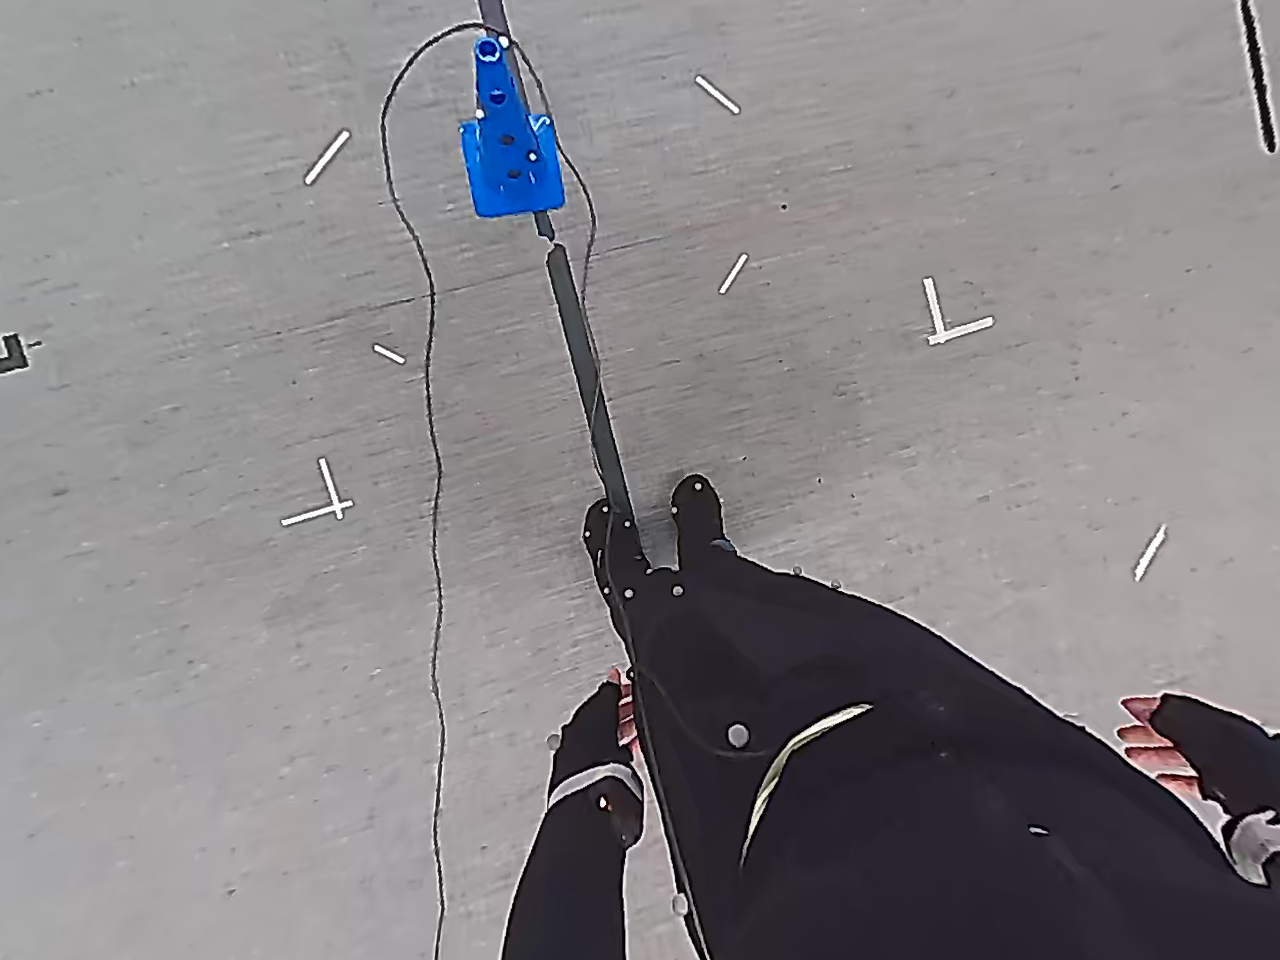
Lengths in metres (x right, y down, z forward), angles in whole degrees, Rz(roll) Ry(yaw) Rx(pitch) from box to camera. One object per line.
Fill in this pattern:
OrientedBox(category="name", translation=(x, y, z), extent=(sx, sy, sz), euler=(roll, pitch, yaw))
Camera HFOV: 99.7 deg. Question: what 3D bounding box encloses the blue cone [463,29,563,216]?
OrientedBox(category="blue cone", translation=(-0.251, -0.657, 0.990), extent=(0.193, 0.380, 0.192), euler=(-12, 95, -5))
